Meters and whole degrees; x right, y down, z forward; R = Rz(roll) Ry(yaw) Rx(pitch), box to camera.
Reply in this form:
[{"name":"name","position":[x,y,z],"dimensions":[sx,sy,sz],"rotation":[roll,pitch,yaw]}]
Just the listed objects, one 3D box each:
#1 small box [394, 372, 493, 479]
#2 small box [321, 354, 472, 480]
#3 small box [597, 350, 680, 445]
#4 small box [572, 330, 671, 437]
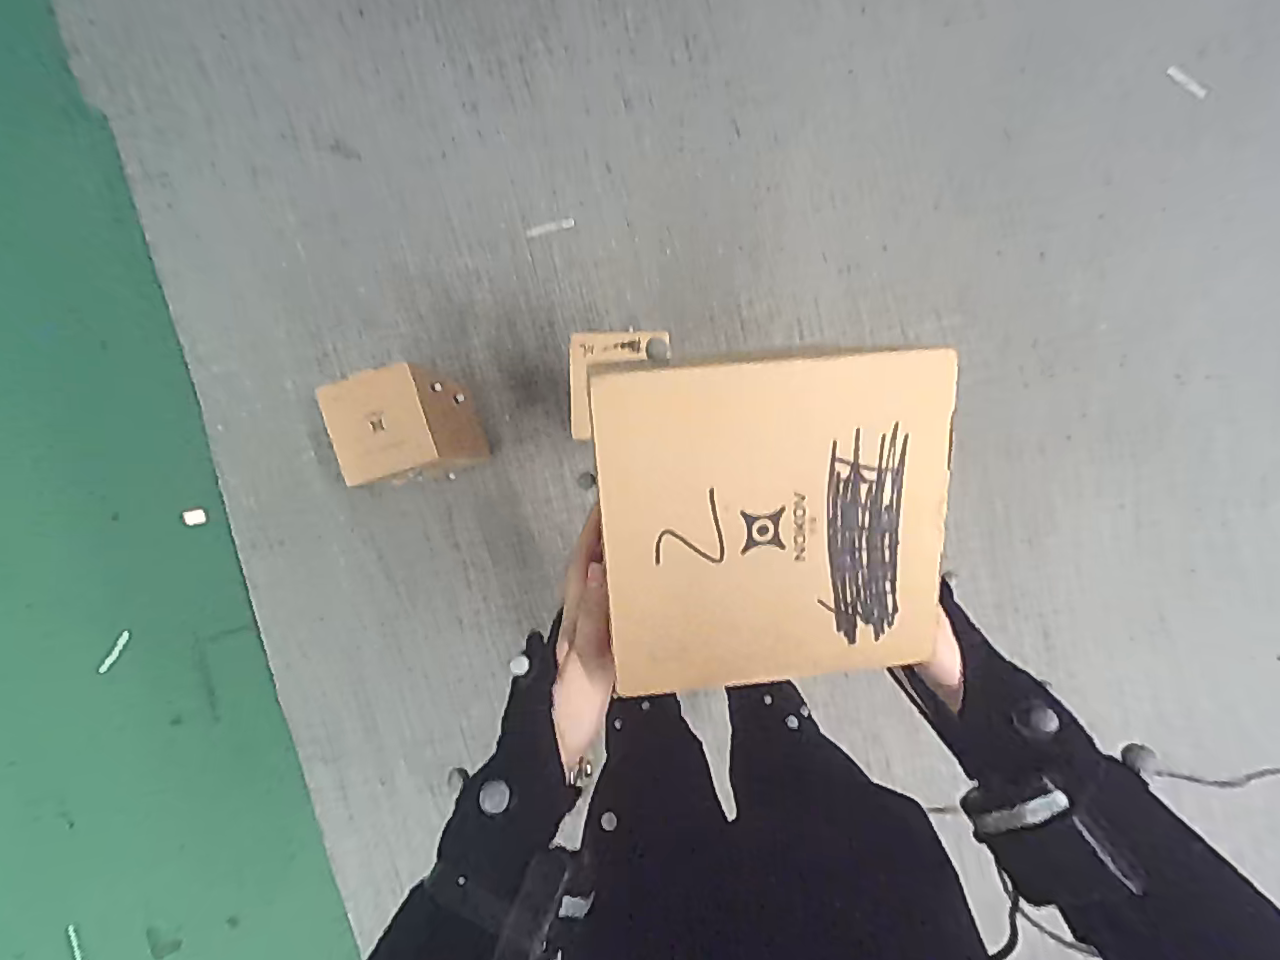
[{"name":"small box","position":[-0.431,-0.108,1.141],"dimensions":[0.168,0.176,0.179],"rotation":[-18,93,1]},{"name":"small box","position":[-0.428,-0.107,0.978],"dimensions":[0.168,0.176,0.179],"rotation":[-18,93,3]},{"name":"small box","position":[-0.007,-0.166,1.135],"dimensions":[0.168,0.176,0.179],"rotation":[-4,93,1]},{"name":"small box","position":[-0.029,-0.165,0.971],"dimensions":[0.168,0.176,0.179],"rotation":[0,94,1]}]
